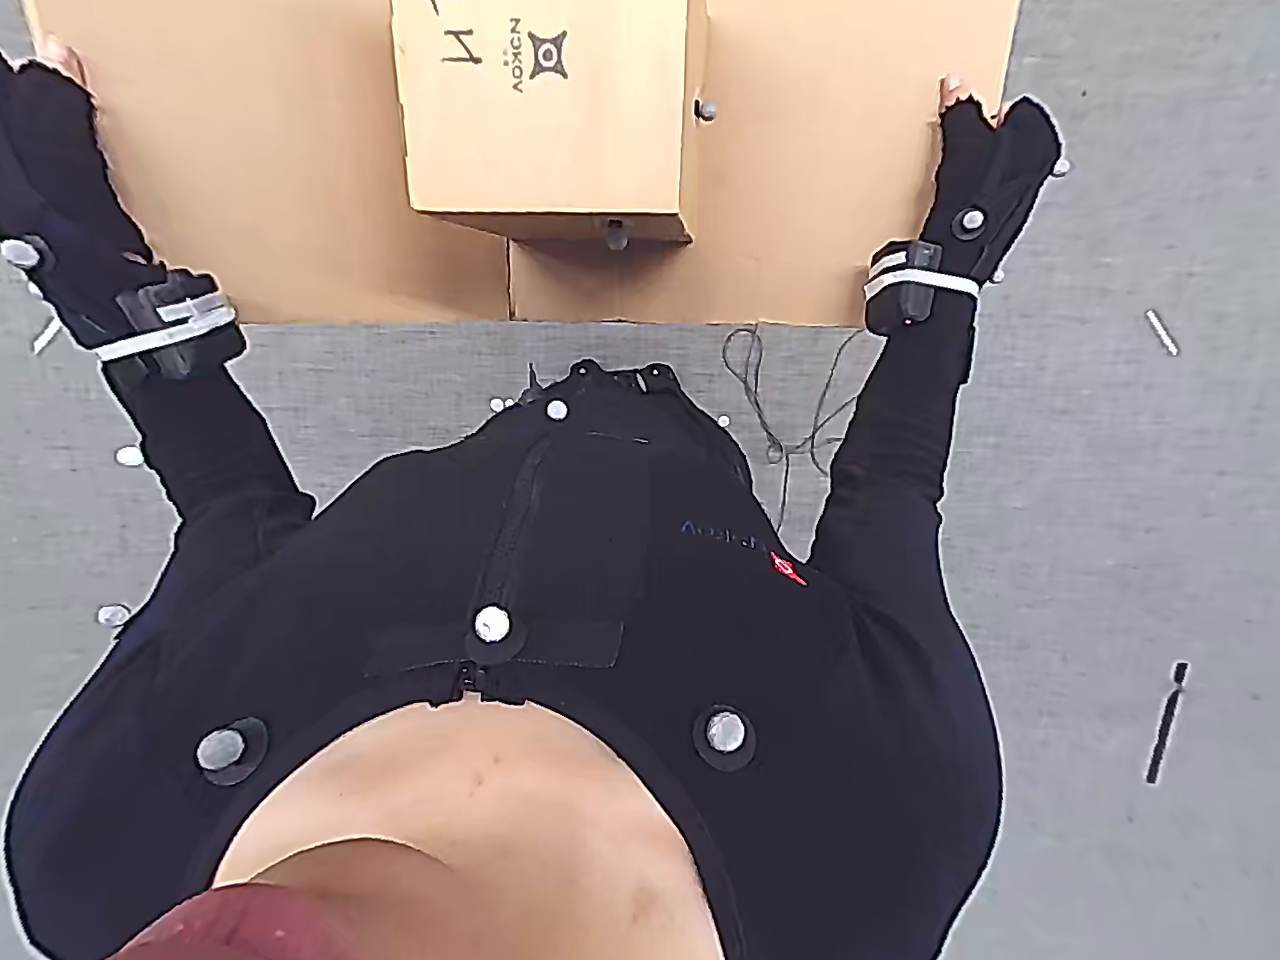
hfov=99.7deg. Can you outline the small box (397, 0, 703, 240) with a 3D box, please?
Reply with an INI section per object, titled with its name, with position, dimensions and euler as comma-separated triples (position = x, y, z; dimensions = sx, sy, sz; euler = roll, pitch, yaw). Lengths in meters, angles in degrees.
[small box]
position = -0.048, -0.274, 0.394
dimensions = 0.179, 0.176, 0.168
euler = 5, 109, 8
